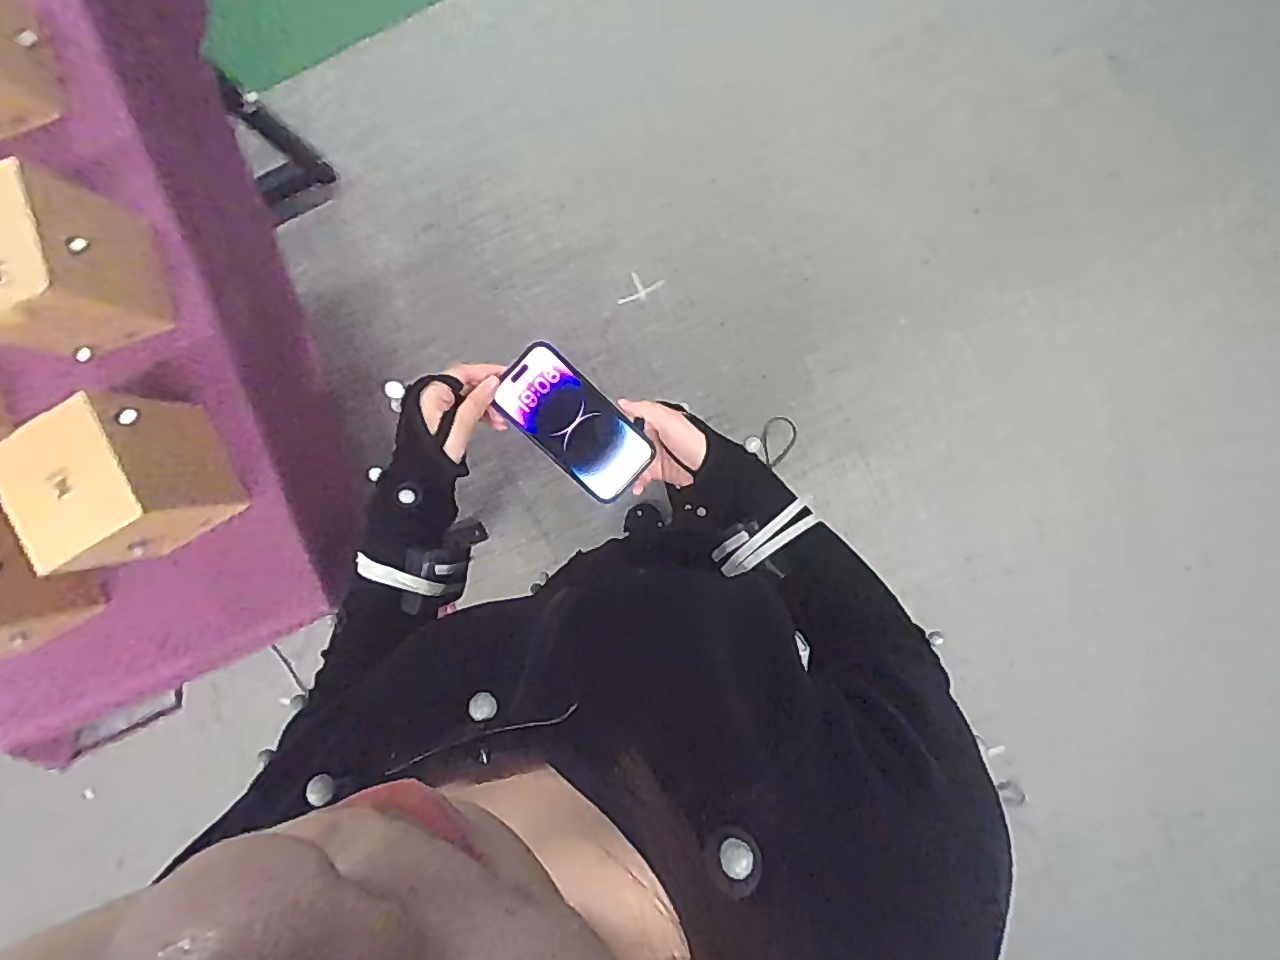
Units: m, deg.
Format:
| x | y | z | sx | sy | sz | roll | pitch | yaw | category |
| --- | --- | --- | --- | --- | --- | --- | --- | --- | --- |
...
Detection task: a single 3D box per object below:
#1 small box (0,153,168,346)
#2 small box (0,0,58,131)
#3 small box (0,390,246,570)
| x | y | z | sx | sy | sz | roll | pitch | yaw | category |
| --- | --- | --- | --- | --- | --- | --- | --- | --- | --- |
| -0.810 | -0.296 | 0.745 | 0.168 | 0.176 | 0.179 | -17 | 89 | 4 | small box |
| -0.985 | -0.623 | 0.748 | 0.168 | 0.176 | 0.179 | -16 | 90 | 5 | small box |
| -0.702 | -0.002 | 0.746 | 0.168 | 0.176 | 0.179 | -29 | 88 | 5 | small box |
